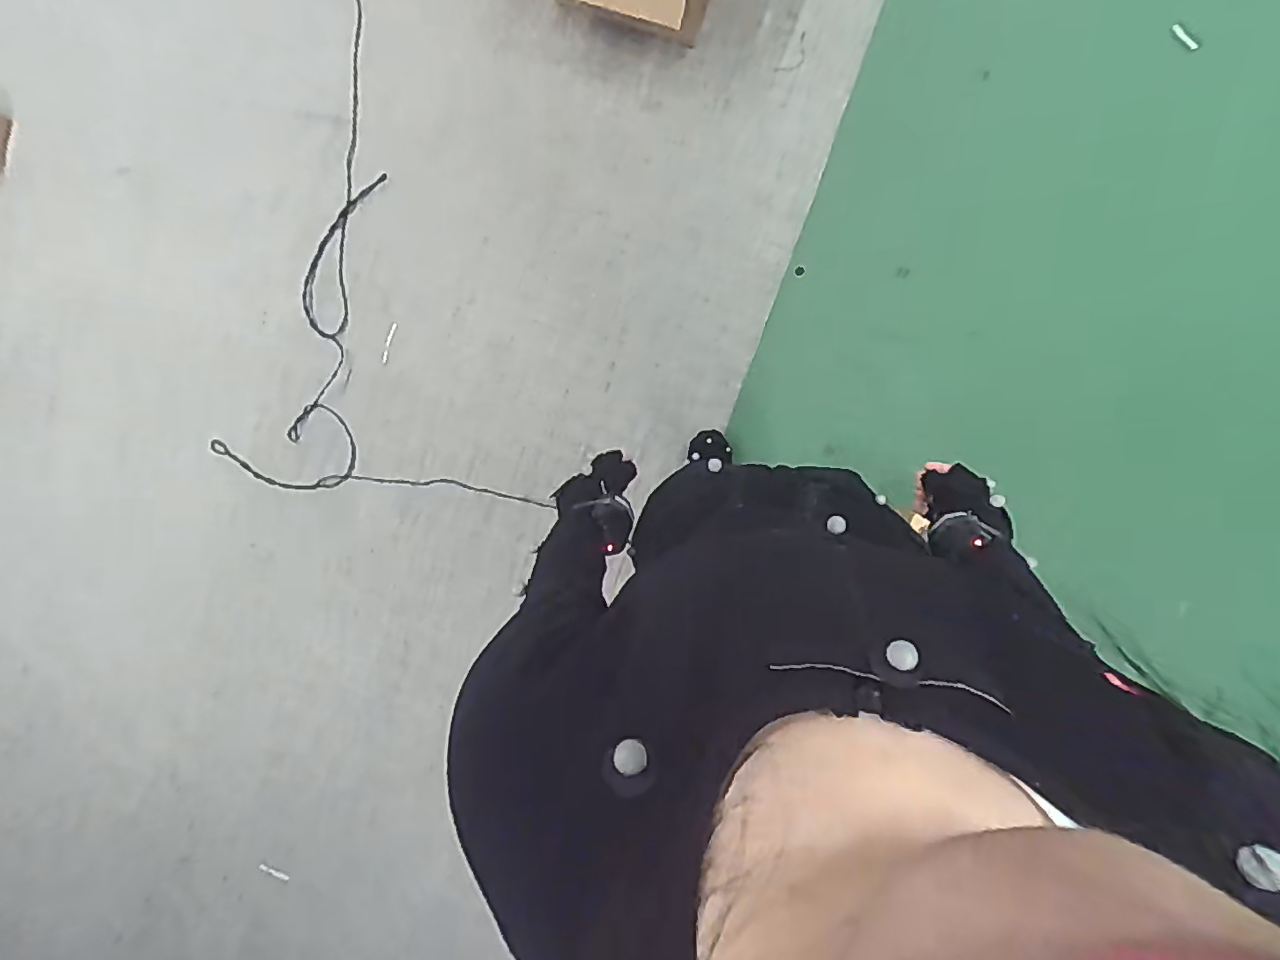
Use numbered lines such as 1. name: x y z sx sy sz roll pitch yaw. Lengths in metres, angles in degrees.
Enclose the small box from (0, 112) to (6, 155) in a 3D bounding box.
1. small box: -1.996 -1.041 1.549 0.168 0.176 0.179 19 98 4
